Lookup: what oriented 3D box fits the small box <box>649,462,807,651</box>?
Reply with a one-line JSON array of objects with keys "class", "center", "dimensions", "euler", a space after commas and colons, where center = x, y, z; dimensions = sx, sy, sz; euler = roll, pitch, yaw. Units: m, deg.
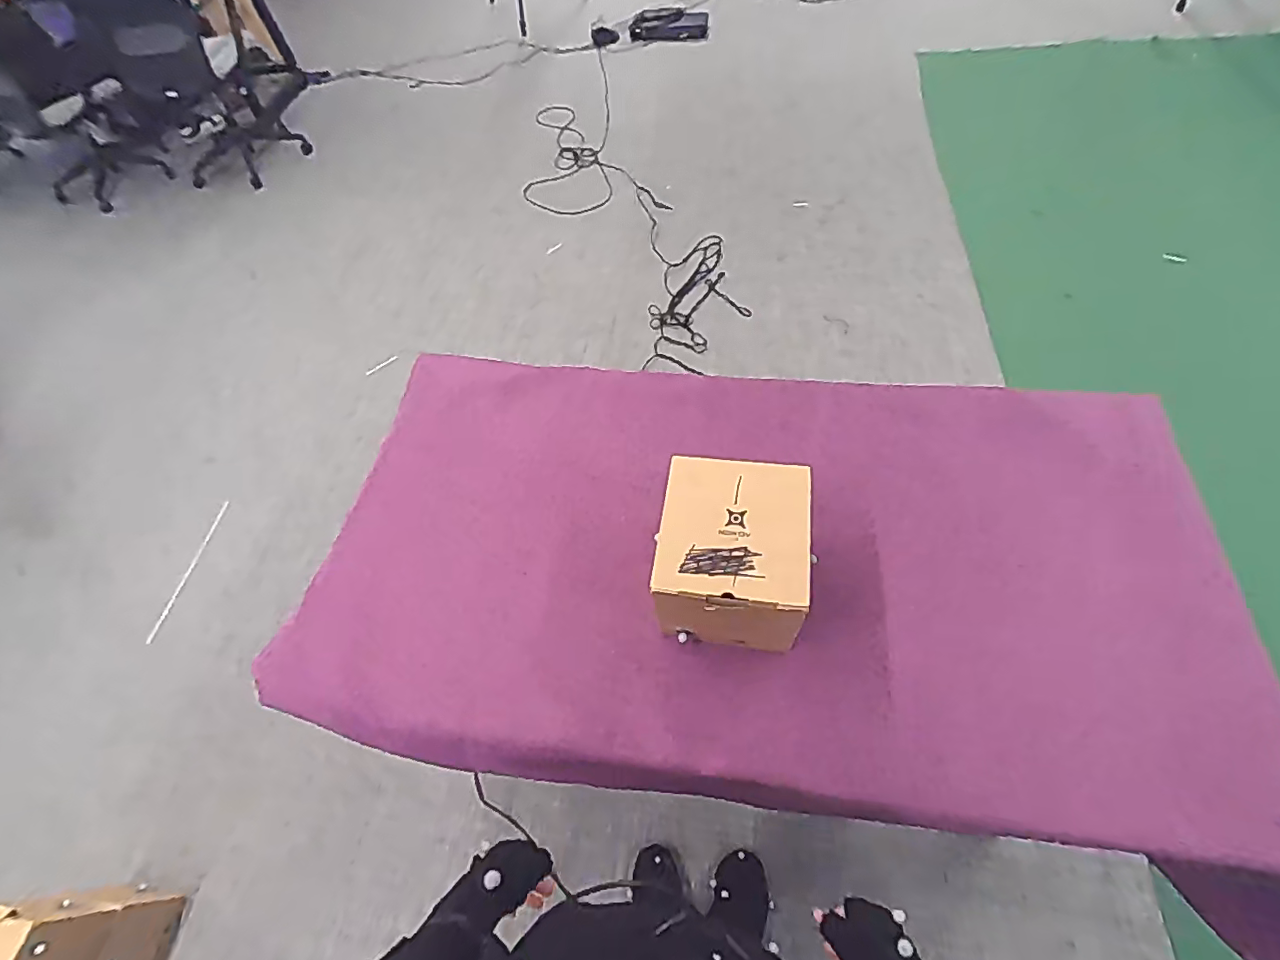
[{"class": "small box", "center": [0.112, 0.100, 0.676], "dimensions": [0.168, 0.176, 0.179], "euler": [5, 58, 10]}]
